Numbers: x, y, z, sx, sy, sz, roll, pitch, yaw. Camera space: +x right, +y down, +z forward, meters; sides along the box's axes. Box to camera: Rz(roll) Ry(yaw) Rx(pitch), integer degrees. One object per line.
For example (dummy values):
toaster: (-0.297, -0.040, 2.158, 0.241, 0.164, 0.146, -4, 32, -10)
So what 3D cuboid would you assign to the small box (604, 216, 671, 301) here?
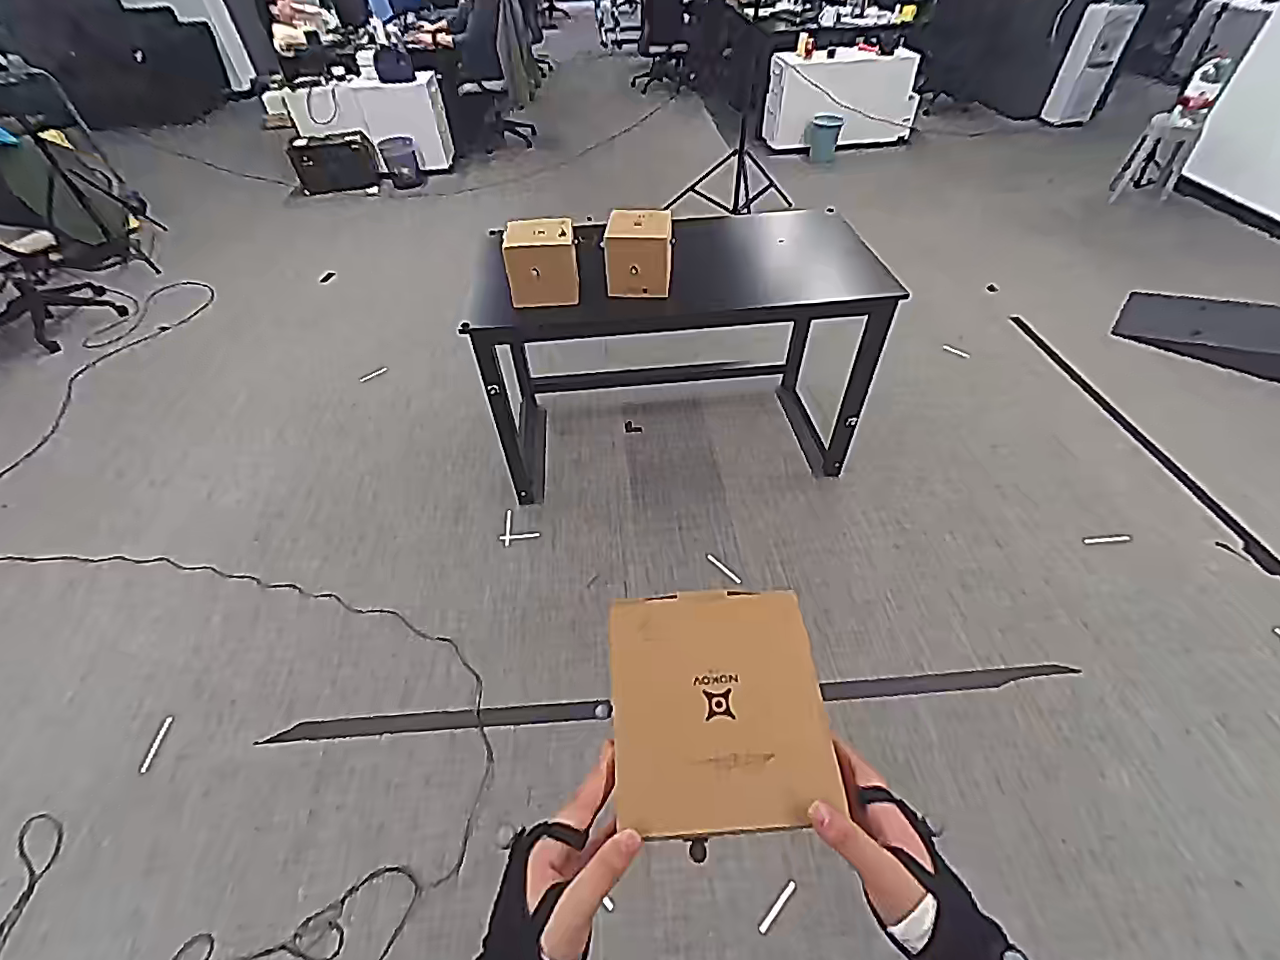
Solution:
small box: (-0.002, -0.611, 1.497, 0.168, 0.176, 0.179, 3, 47, 5)

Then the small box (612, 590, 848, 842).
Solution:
small box: (0.059, 0.217, 0.491, 0.168, 0.176, 0.179, -2, 55, -3)

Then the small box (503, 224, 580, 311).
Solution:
small box: (-0.262, -0.577, 1.476, 0.179, 0.176, 0.168, -4, 47, -1)
